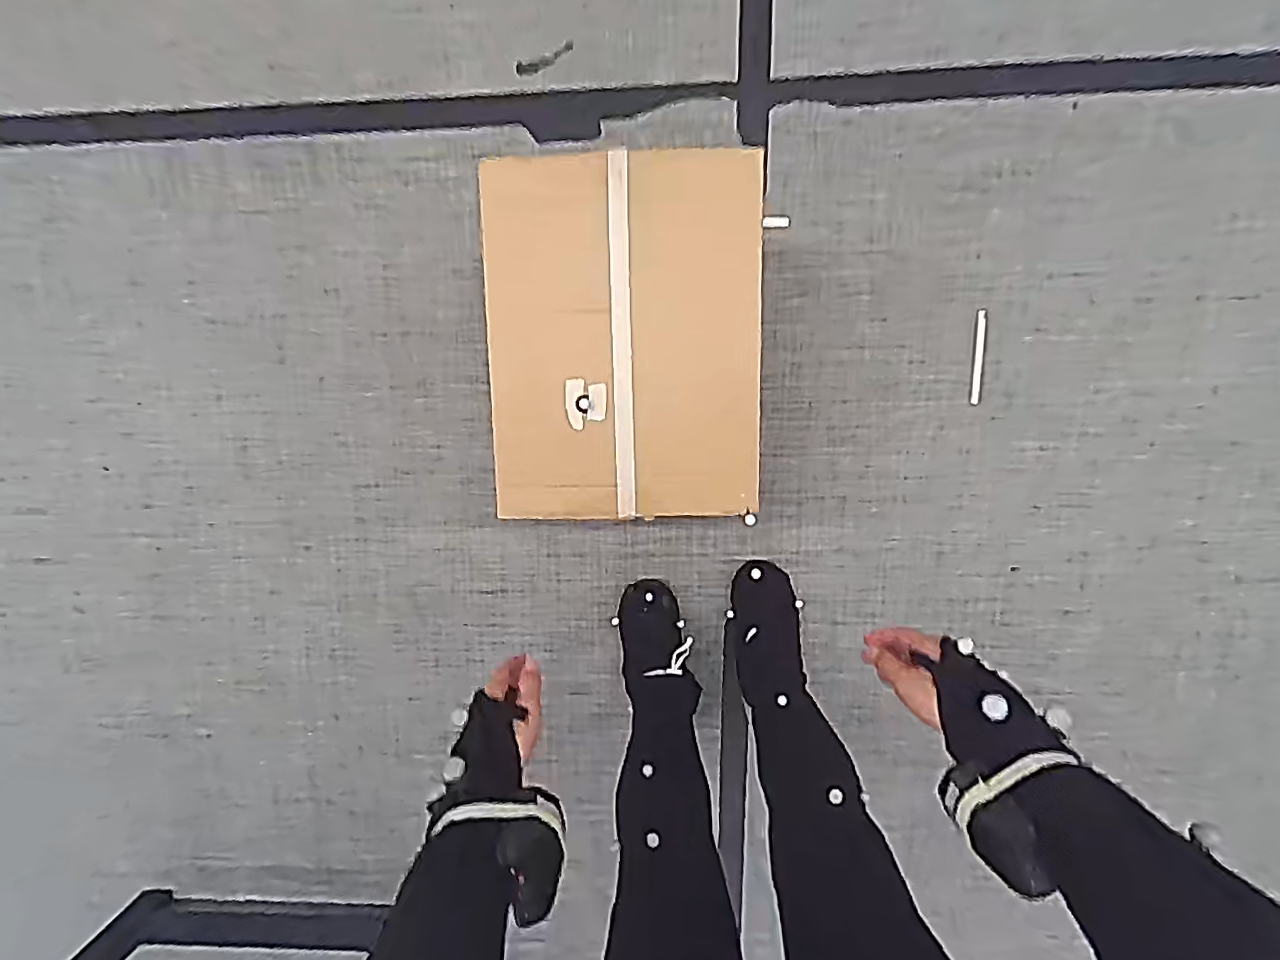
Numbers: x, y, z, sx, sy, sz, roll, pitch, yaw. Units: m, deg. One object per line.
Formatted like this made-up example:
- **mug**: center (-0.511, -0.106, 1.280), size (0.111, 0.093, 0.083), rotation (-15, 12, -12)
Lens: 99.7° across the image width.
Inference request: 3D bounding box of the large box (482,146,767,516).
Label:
- **large box**: center (-0.008, -0.182, 0.760), size (0.320, 0.320, 0.408), rotation (-1, 99, 3)
